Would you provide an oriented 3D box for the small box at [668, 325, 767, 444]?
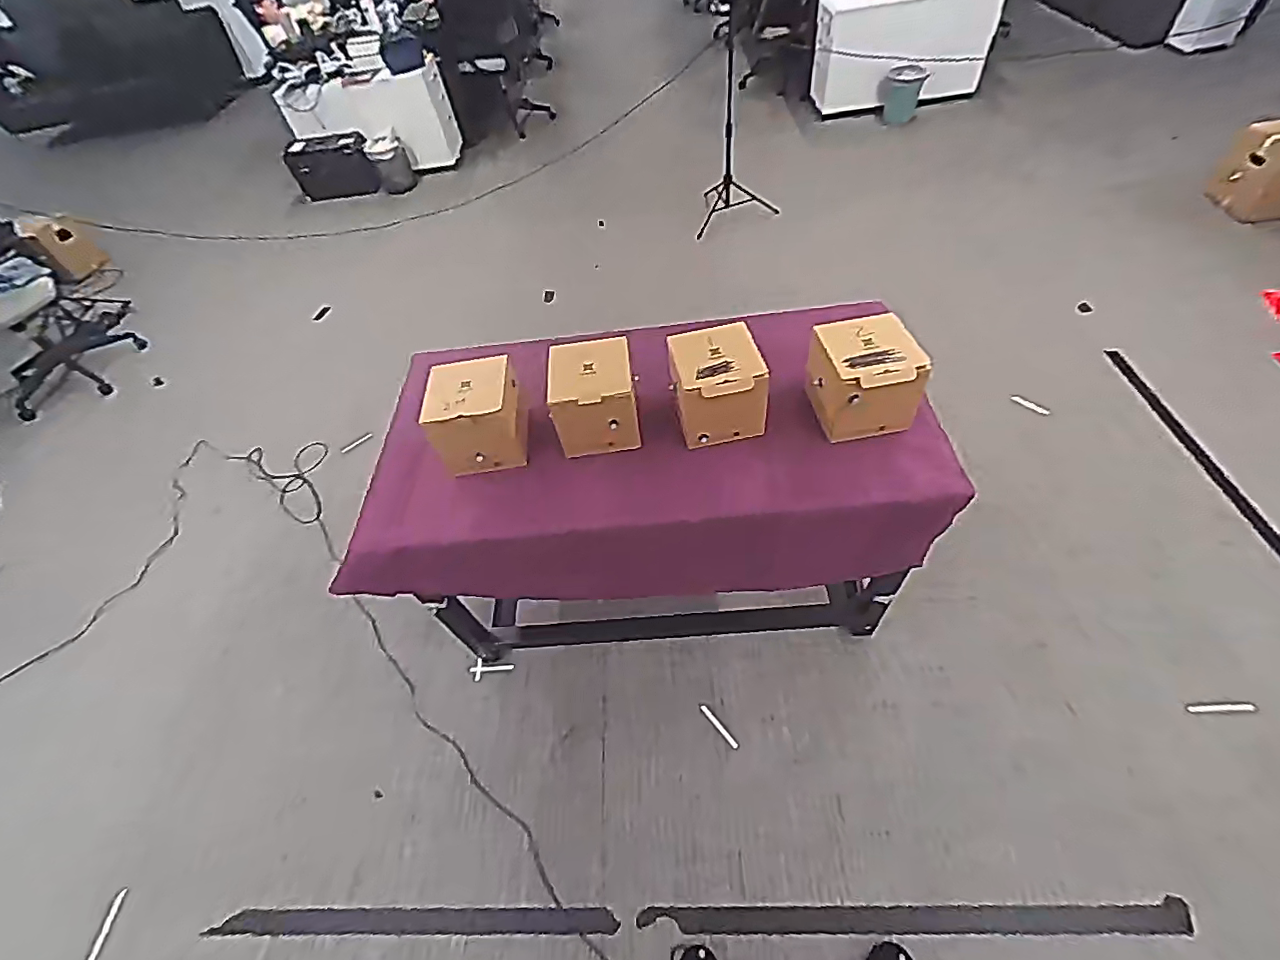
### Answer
[{"bbox_3d":[0.160,-0.191,1.130,0.168,0.176,0.179,-11,51,-1],"label":"small box"}]

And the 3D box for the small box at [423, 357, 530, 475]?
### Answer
[{"bbox_3d":[-0.339,-0.134,1.158,0.168,0.176,0.179,-9,52,3],"label":"small box"}]

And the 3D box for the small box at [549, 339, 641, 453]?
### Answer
[{"bbox_3d":[-0.091,-0.171,1.154,0.168,0.176,0.179,-7,51,3],"label":"small box"}]
